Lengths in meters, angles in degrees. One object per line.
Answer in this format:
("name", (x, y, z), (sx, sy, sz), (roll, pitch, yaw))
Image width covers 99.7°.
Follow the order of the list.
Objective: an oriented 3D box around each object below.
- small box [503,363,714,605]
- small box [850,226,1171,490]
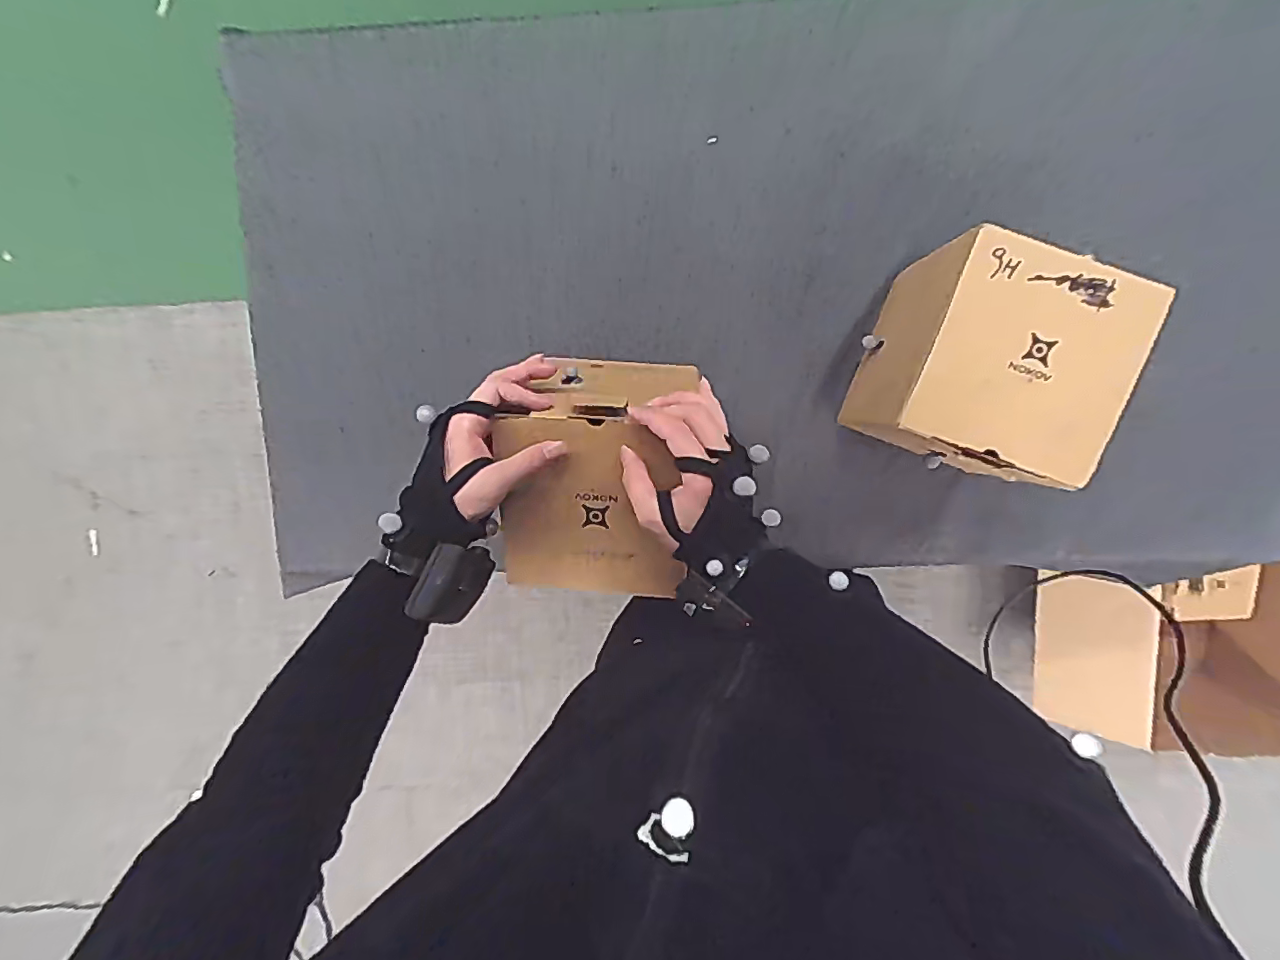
("small box", (-0.024, -0.007, 0.520), (0.168, 0.176, 0.179), (4, 117, 3))
("small box", (0.328, -0.109, 0.526), (0.168, 0.176, 0.179), (20, 98, 1))
